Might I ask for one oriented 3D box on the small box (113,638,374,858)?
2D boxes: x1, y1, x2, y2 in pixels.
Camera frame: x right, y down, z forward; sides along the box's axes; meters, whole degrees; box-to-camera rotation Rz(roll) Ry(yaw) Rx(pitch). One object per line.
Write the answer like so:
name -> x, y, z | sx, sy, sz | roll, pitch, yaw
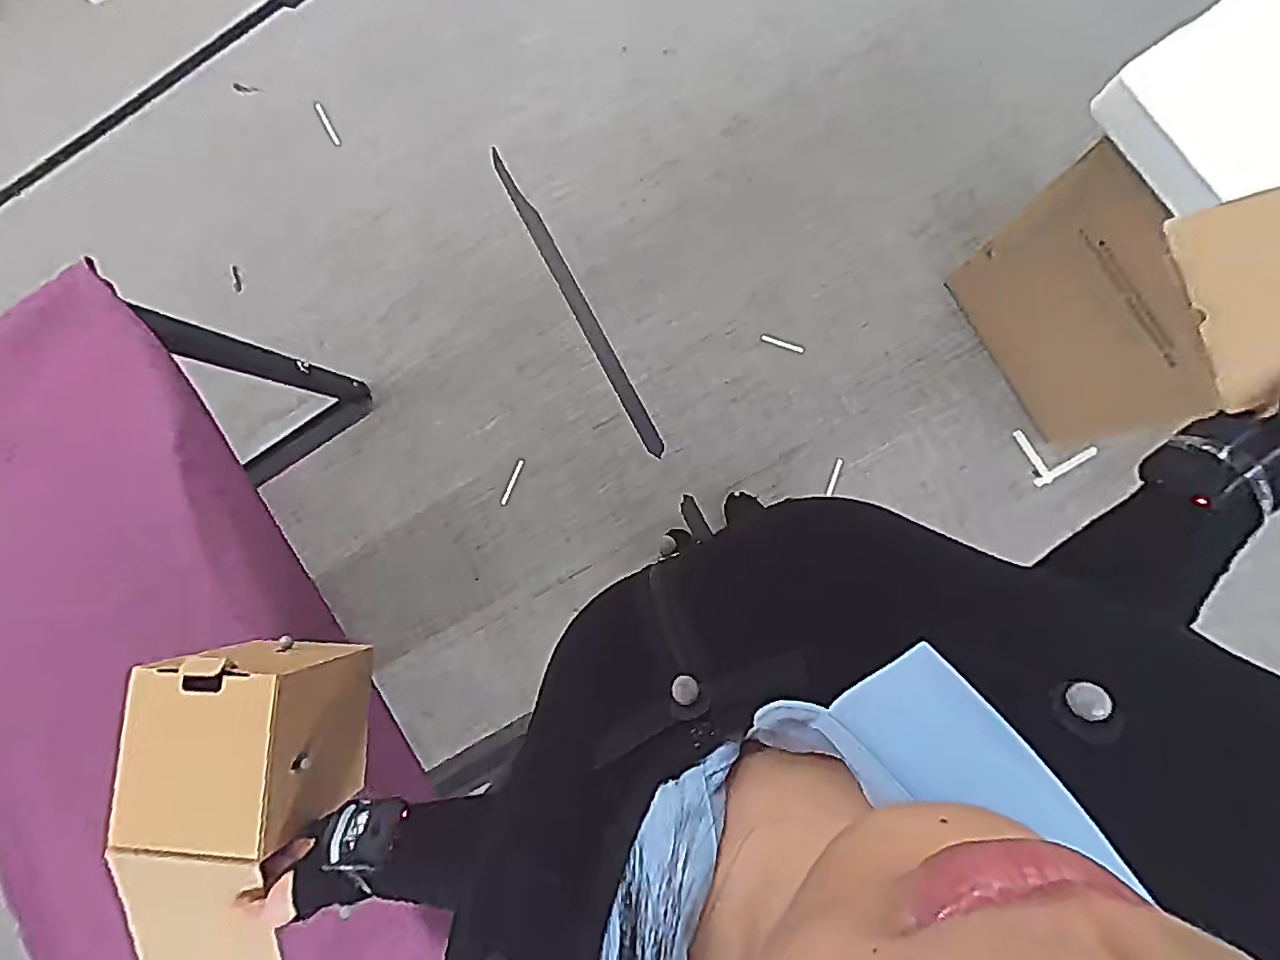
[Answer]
small box -> -0.431, 0.286, 0.616 | 0.168, 0.176, 0.179 | 1, 82, 6
